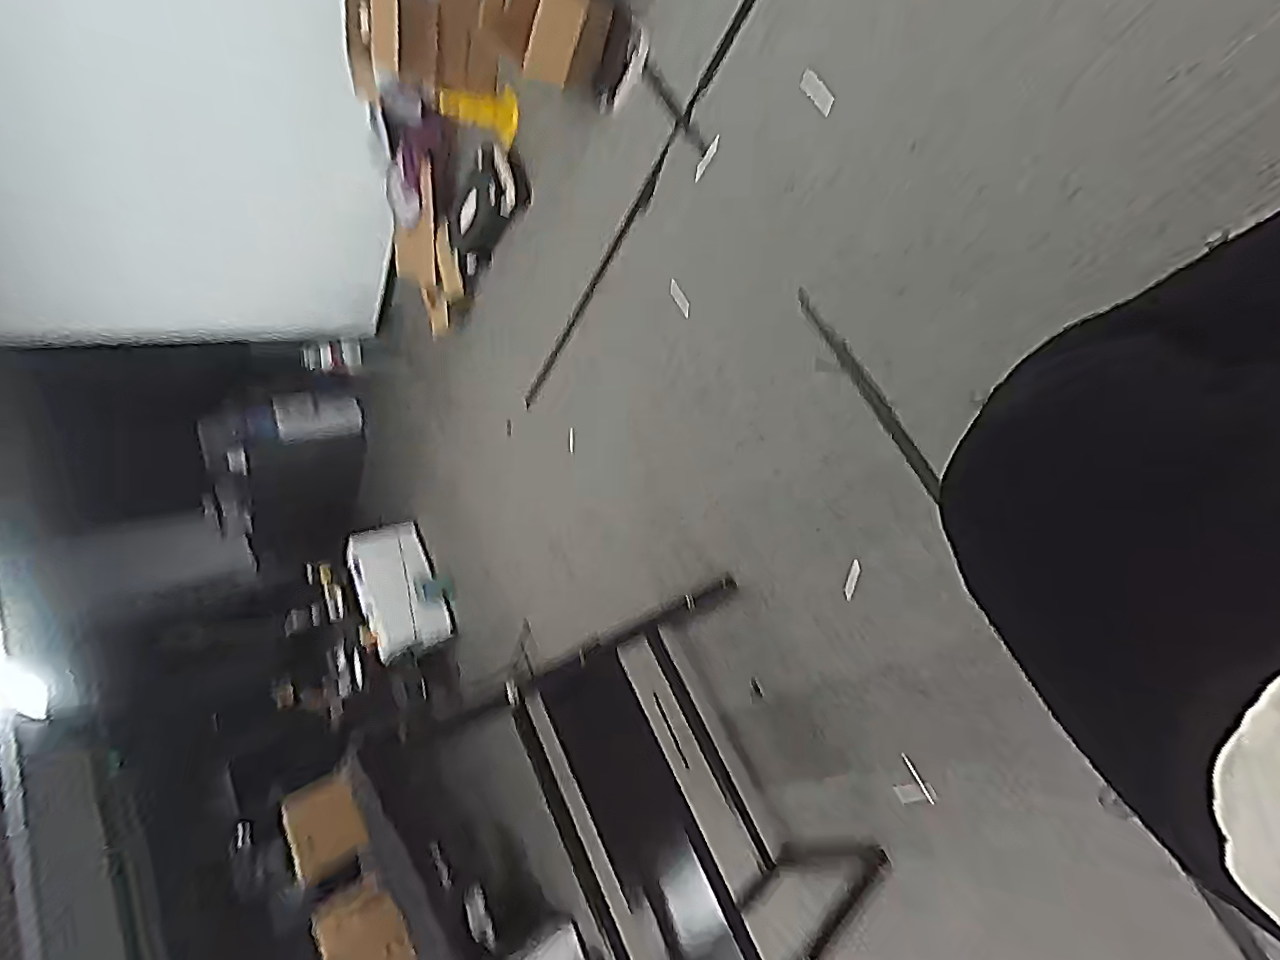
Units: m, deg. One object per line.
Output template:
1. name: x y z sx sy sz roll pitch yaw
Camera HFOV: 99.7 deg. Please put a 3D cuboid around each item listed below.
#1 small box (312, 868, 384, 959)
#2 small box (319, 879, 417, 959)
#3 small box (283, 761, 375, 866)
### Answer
1. small box: -0.782 1.211 1.490 0.168 0.176 0.179 -42 70 48
2. small box: -0.655 1.105 1.302 0.179 0.176 0.168 -42 70 49
3. small box: -0.797 0.845 1.389 0.179 0.176 0.168 -39 72 49
